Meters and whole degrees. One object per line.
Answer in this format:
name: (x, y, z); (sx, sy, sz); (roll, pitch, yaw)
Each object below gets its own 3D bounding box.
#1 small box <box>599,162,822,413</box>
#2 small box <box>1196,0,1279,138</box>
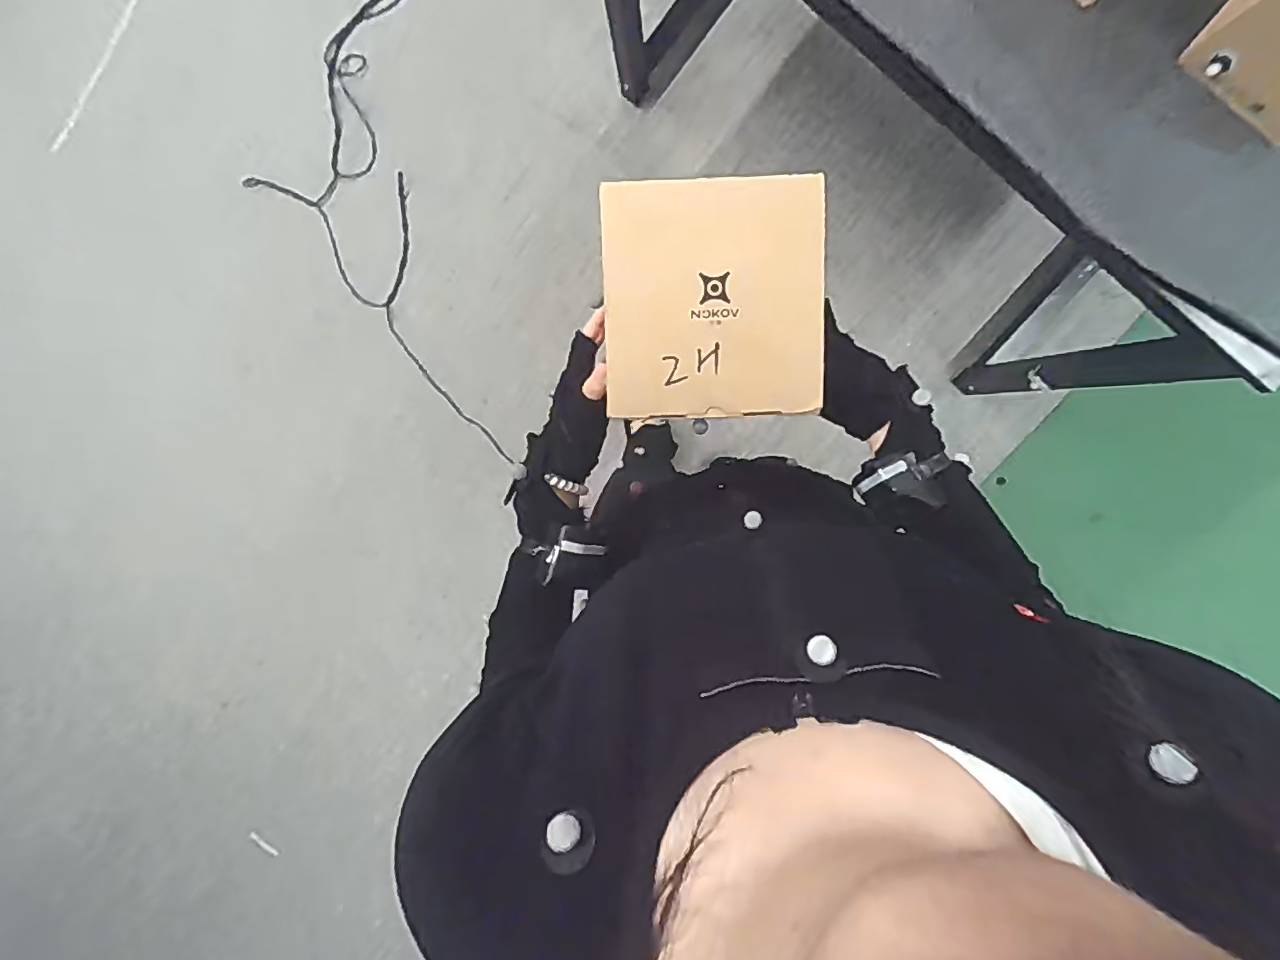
small box: (0.052, -0.150, 0.478); (0.168, 0.176, 0.179); (-1, 97, 2)
small box: (0.745, -0.502, 0.551); (0.168, 0.176, 0.179); (39, 97, -1)
